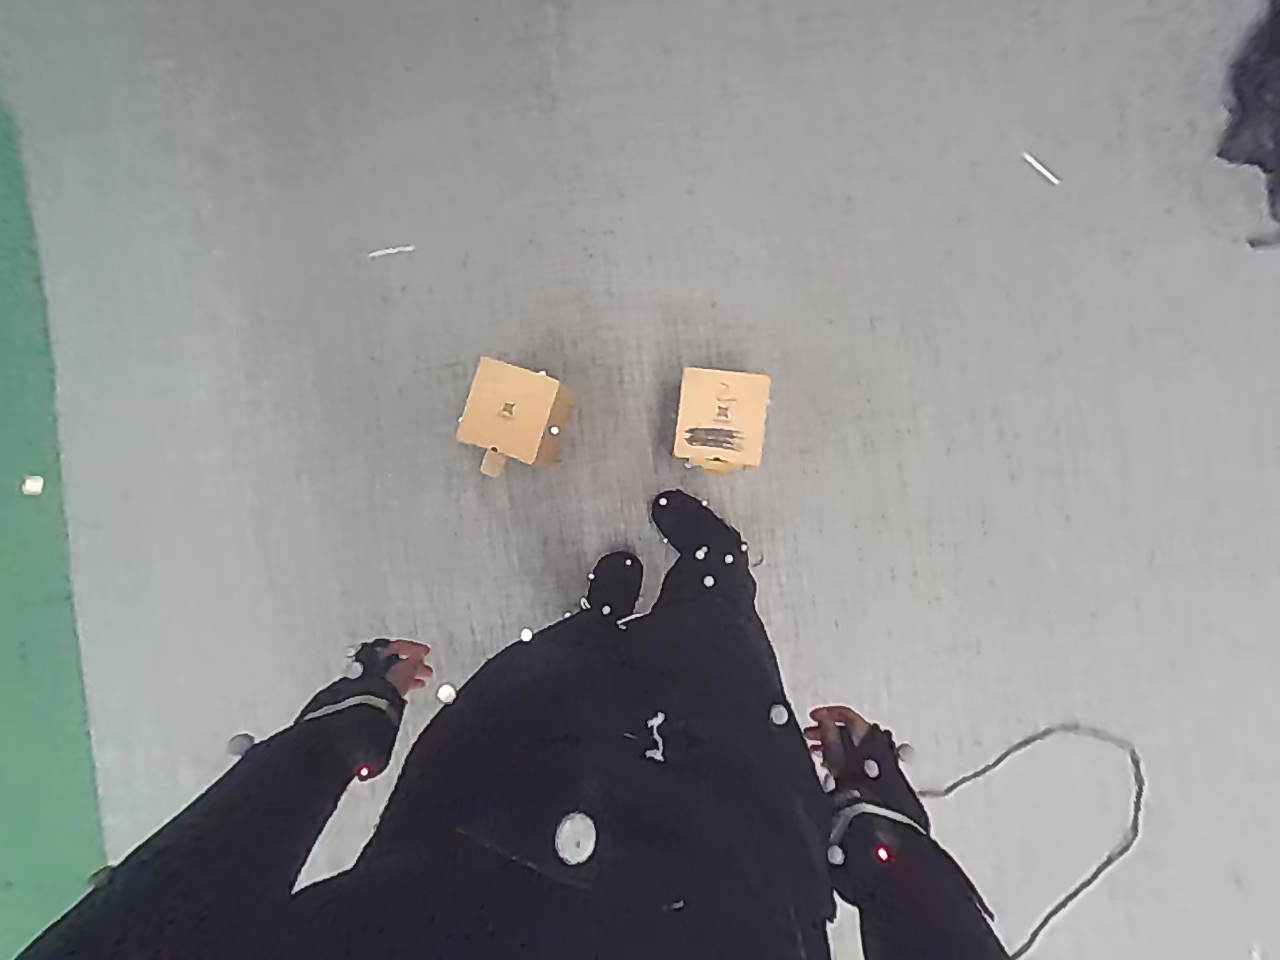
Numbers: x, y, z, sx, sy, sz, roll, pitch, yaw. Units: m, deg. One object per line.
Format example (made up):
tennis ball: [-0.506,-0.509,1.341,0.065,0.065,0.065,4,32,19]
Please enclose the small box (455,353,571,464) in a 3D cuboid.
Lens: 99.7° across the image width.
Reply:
small box: [-0.252,-0.140,1.121,0.168,0.176,0.179,19,92,3]
